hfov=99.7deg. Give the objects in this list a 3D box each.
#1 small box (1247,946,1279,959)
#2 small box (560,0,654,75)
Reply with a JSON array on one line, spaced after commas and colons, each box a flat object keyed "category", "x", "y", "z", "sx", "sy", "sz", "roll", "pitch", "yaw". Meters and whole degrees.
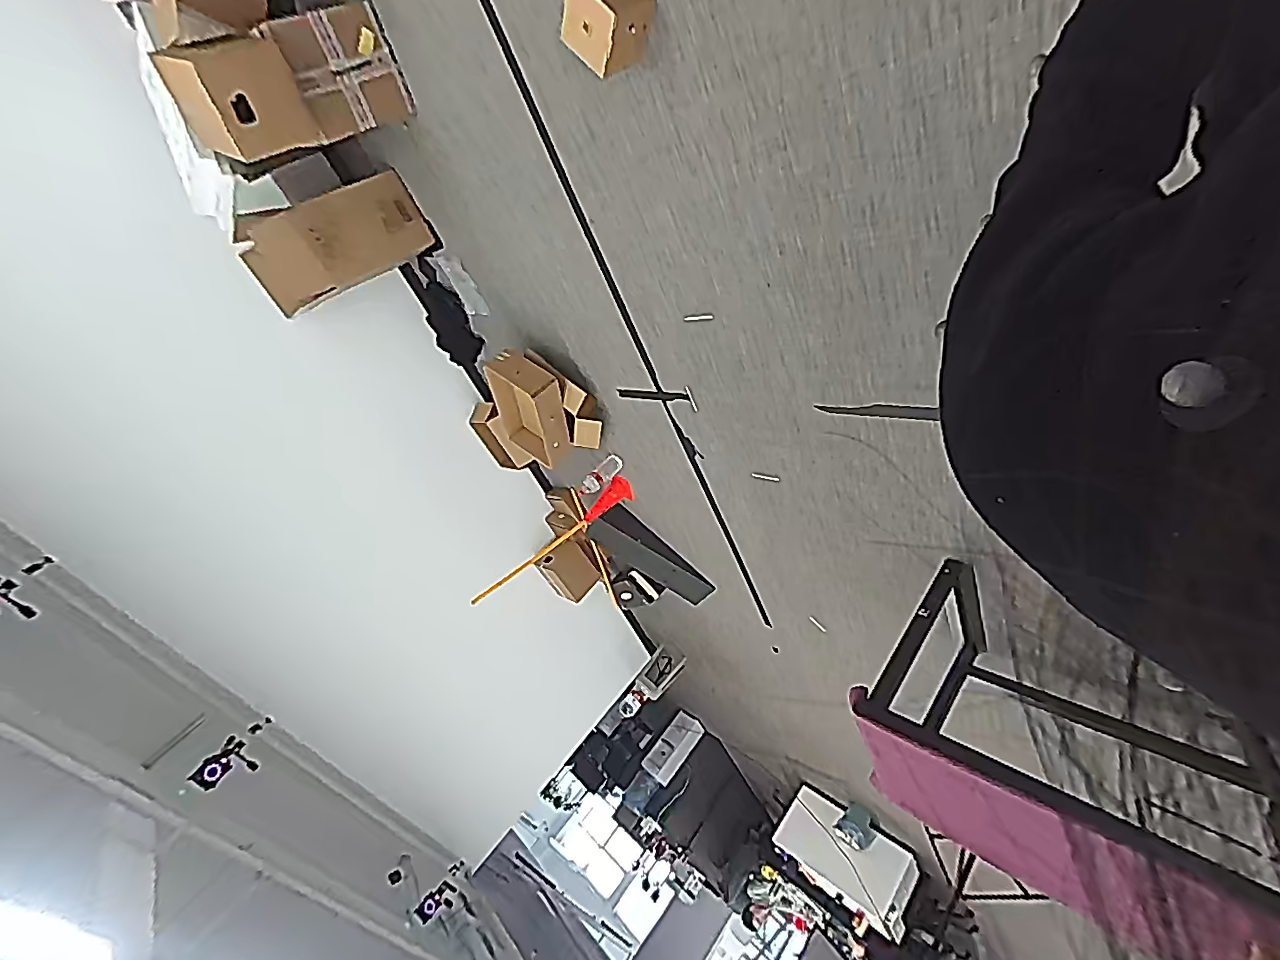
[{"category": "small box", "x": 1.327, "y": 1.083, "z": 1.075, "sx": 0.179, "sy": 0.176, "sz": 0.168, "roll": 11, "pitch": 139, "yaw": 50}, {"category": "small box", "x": -0.090, "y": -1.275, "z": 1.486, "sx": 0.179, "sy": 0.176, "sz": 0.168, "roll": 45, "pitch": 153, "yaw": 4}]
